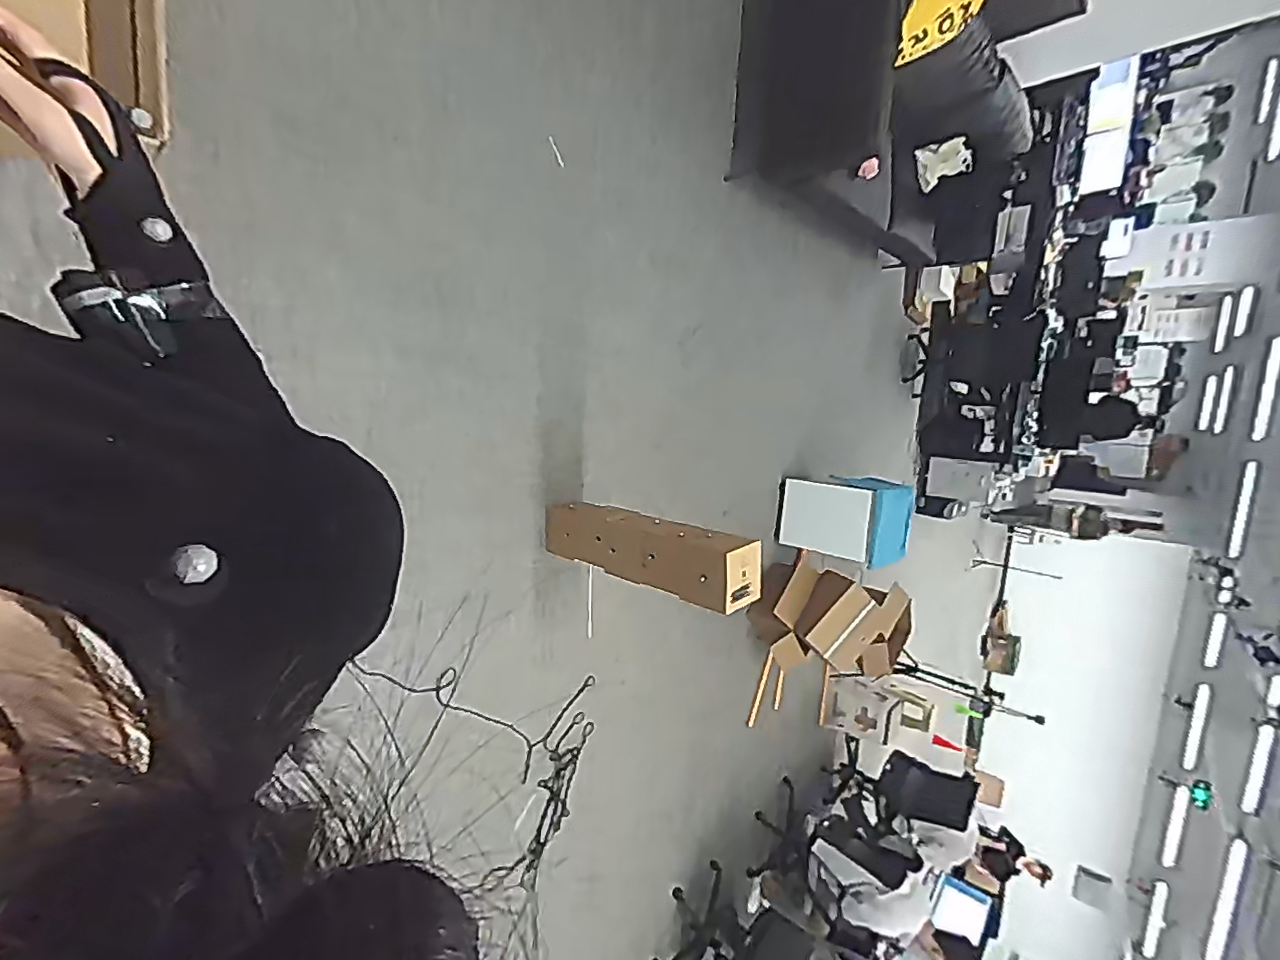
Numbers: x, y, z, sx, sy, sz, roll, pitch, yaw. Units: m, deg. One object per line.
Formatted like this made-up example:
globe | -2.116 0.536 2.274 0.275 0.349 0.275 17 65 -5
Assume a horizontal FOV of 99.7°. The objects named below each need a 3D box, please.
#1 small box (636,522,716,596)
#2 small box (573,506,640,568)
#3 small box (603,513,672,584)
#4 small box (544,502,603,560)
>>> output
small box | 0.109 0.232 1.641 0.179 0.176 0.168 -9 104 -45
small box | -0.117 0.190 1.873 0.168 0.176 0.179 -7 102 -46
small box | -0.008 0.216 1.754 0.168 0.176 0.179 -10 105 -46
small box | -0.238 0.179 1.984 0.168 0.176 0.179 -7 103 -47
